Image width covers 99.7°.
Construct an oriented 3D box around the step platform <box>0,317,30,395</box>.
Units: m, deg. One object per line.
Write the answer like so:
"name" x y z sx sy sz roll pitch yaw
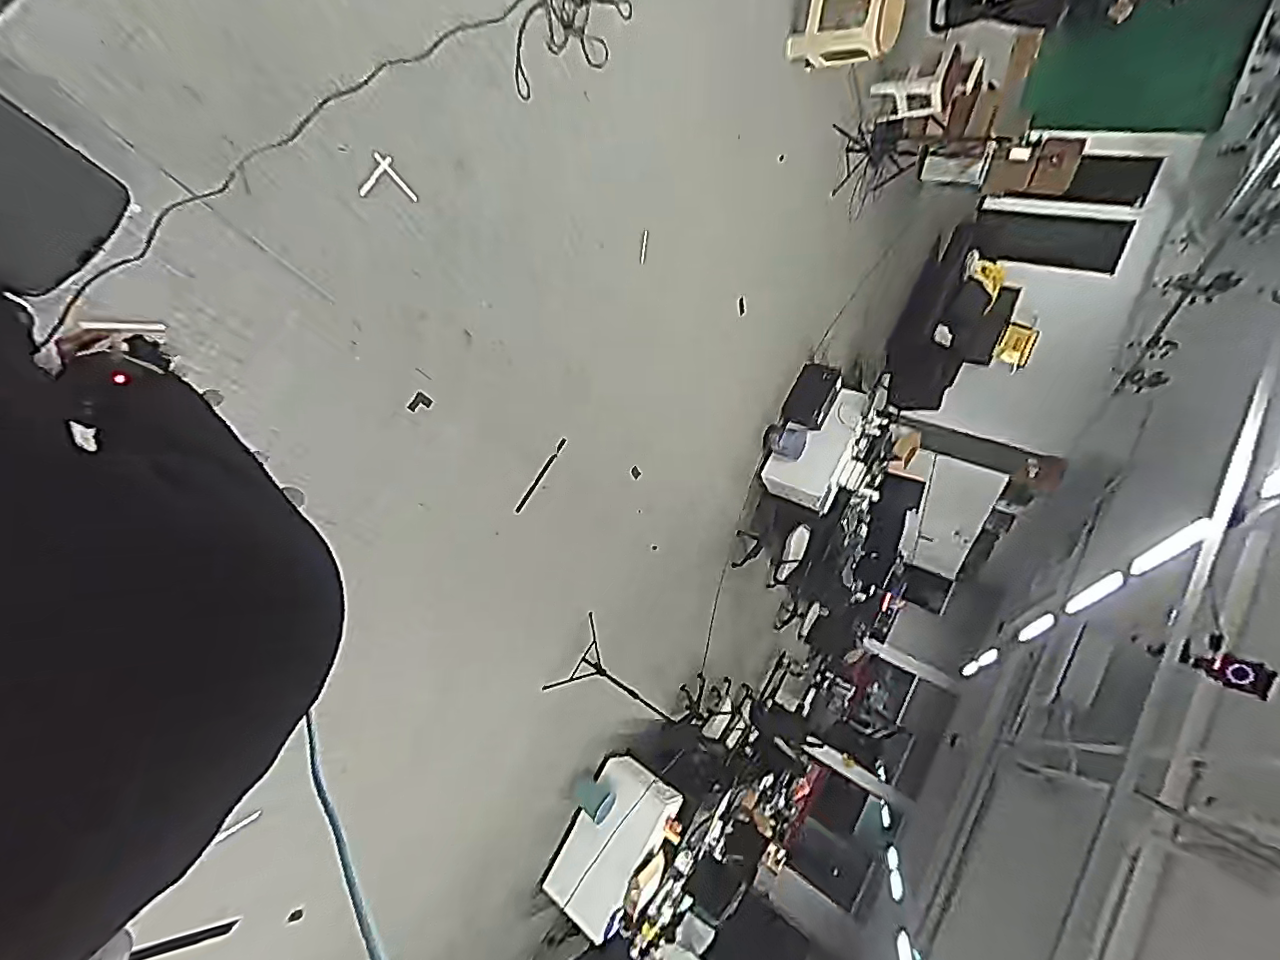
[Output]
"step platform" -1.305 -0.299 0.704 0.286 0.204 0.684 -58 147 -16
